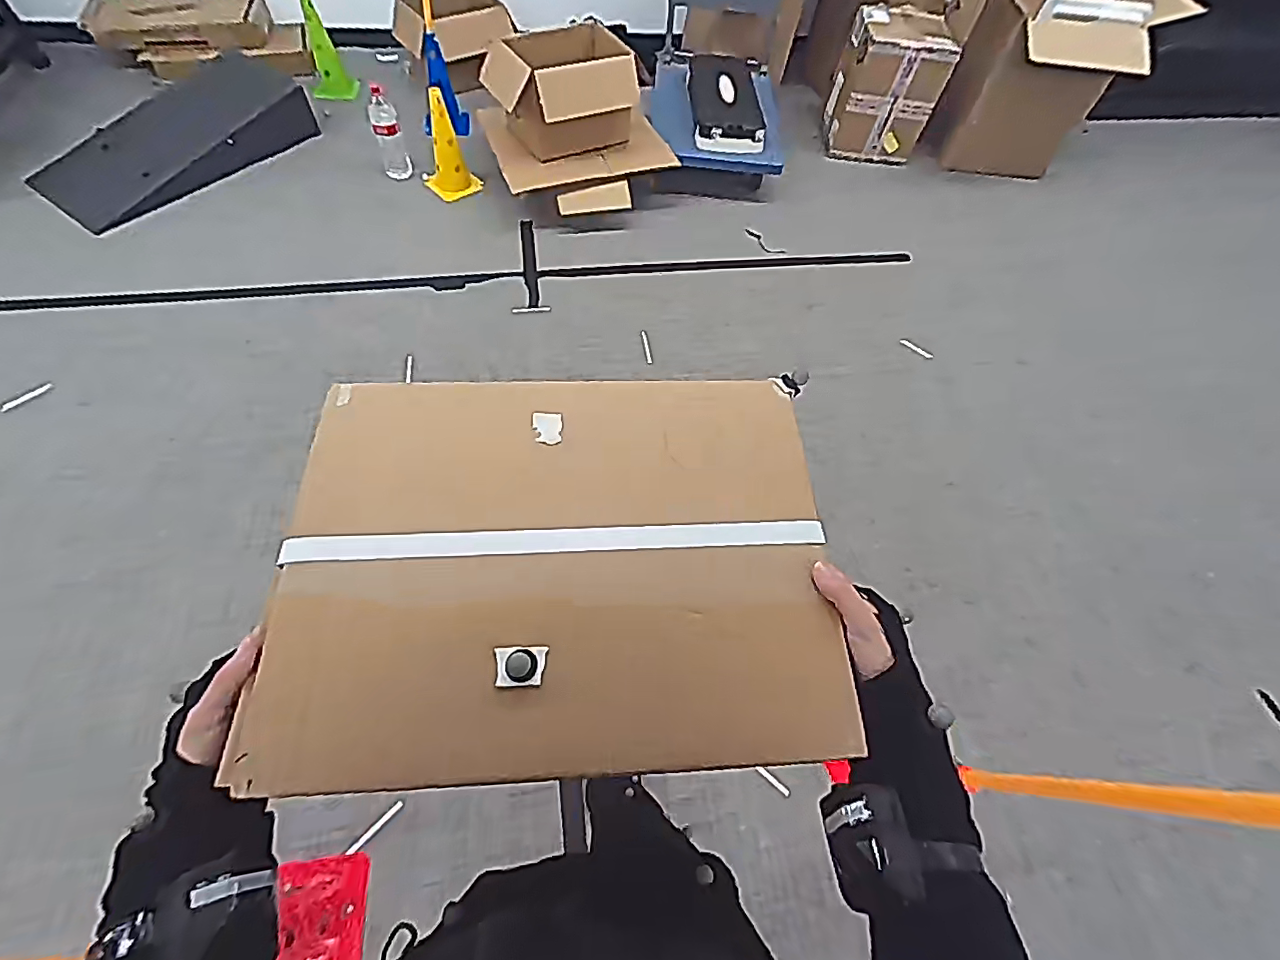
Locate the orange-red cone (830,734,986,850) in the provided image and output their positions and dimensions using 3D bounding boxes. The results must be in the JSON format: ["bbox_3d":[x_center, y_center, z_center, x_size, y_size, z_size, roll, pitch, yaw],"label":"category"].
[{"bbox_3d":[0.567,0.616,1.085,0.199,0.360,0.198,-13,62,-14],"label":"orange-red cone"}]
